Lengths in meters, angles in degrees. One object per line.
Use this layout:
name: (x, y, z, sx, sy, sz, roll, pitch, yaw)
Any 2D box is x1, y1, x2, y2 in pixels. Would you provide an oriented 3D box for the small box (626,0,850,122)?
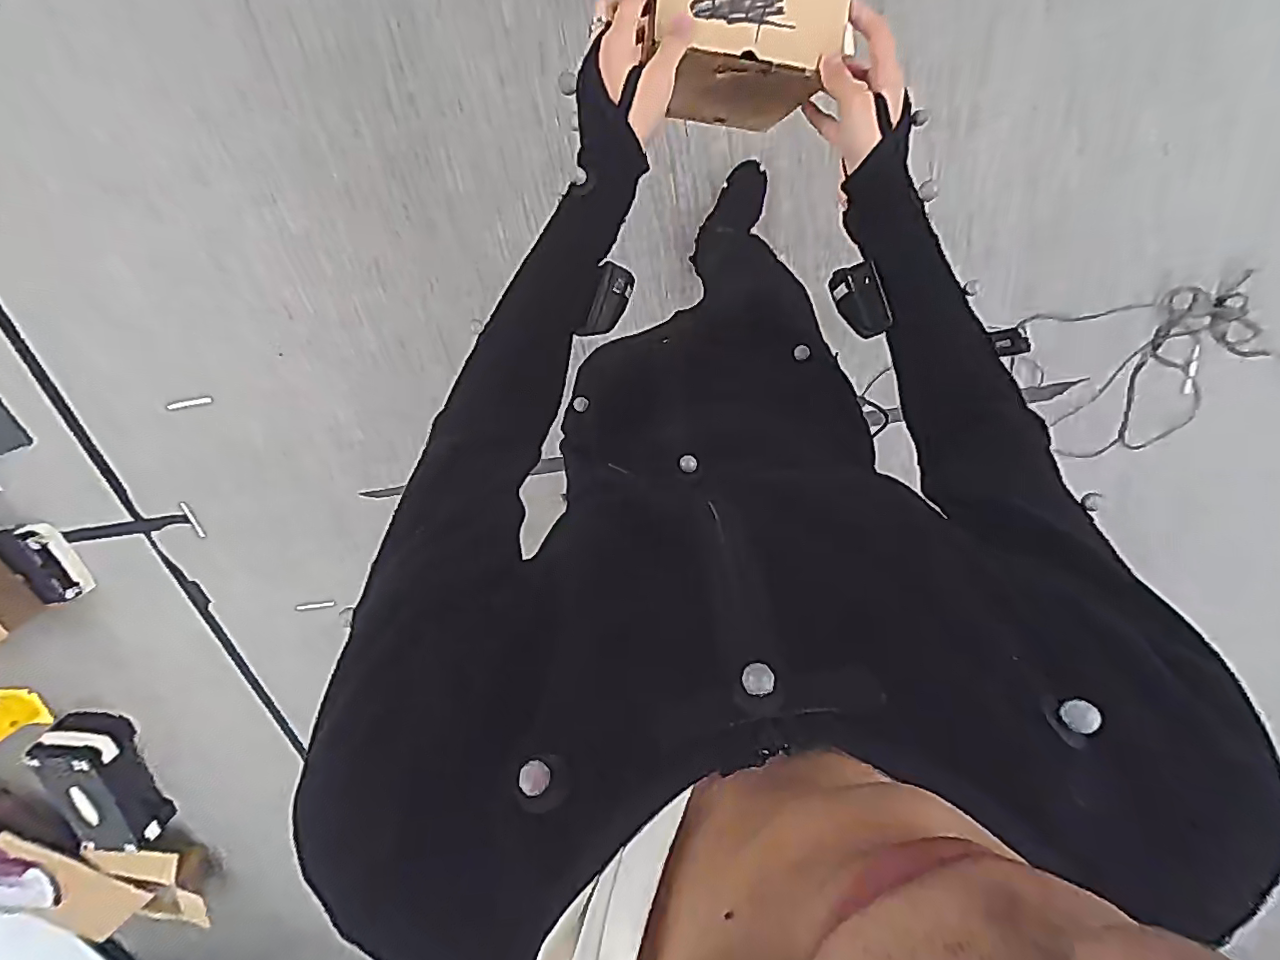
small box: (0.082, -0.454, 0.489, 0.168, 0.176, 0.179, 2, 107, -11)
